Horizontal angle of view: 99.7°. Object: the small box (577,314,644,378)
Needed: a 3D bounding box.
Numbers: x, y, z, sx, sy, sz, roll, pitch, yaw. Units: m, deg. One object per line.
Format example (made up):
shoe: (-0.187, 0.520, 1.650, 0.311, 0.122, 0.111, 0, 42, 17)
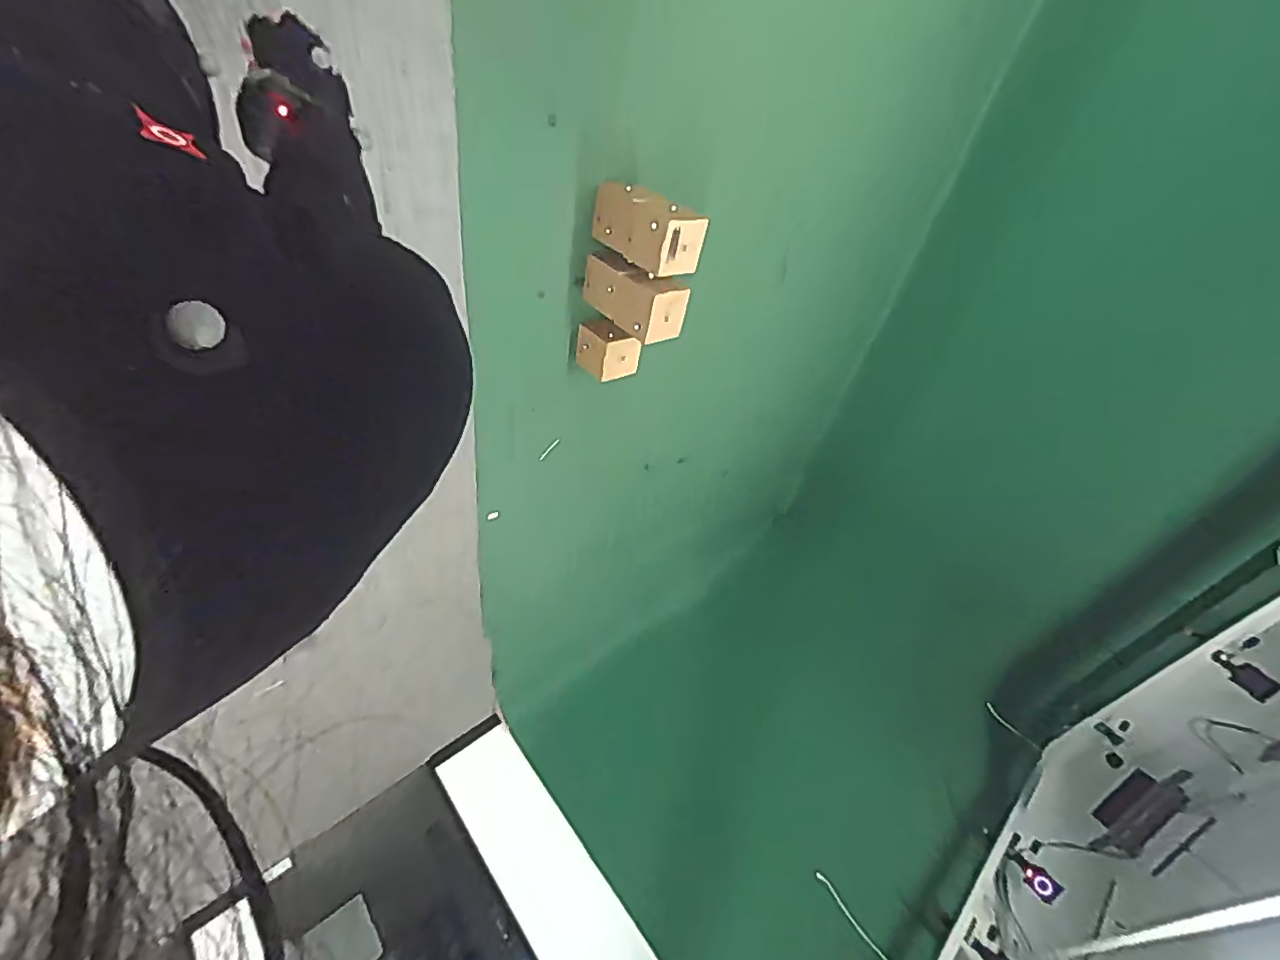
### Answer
small box: (-0.115, -0.515, 2.053, 0.179, 0.176, 0.168, -24, 143, -34)
